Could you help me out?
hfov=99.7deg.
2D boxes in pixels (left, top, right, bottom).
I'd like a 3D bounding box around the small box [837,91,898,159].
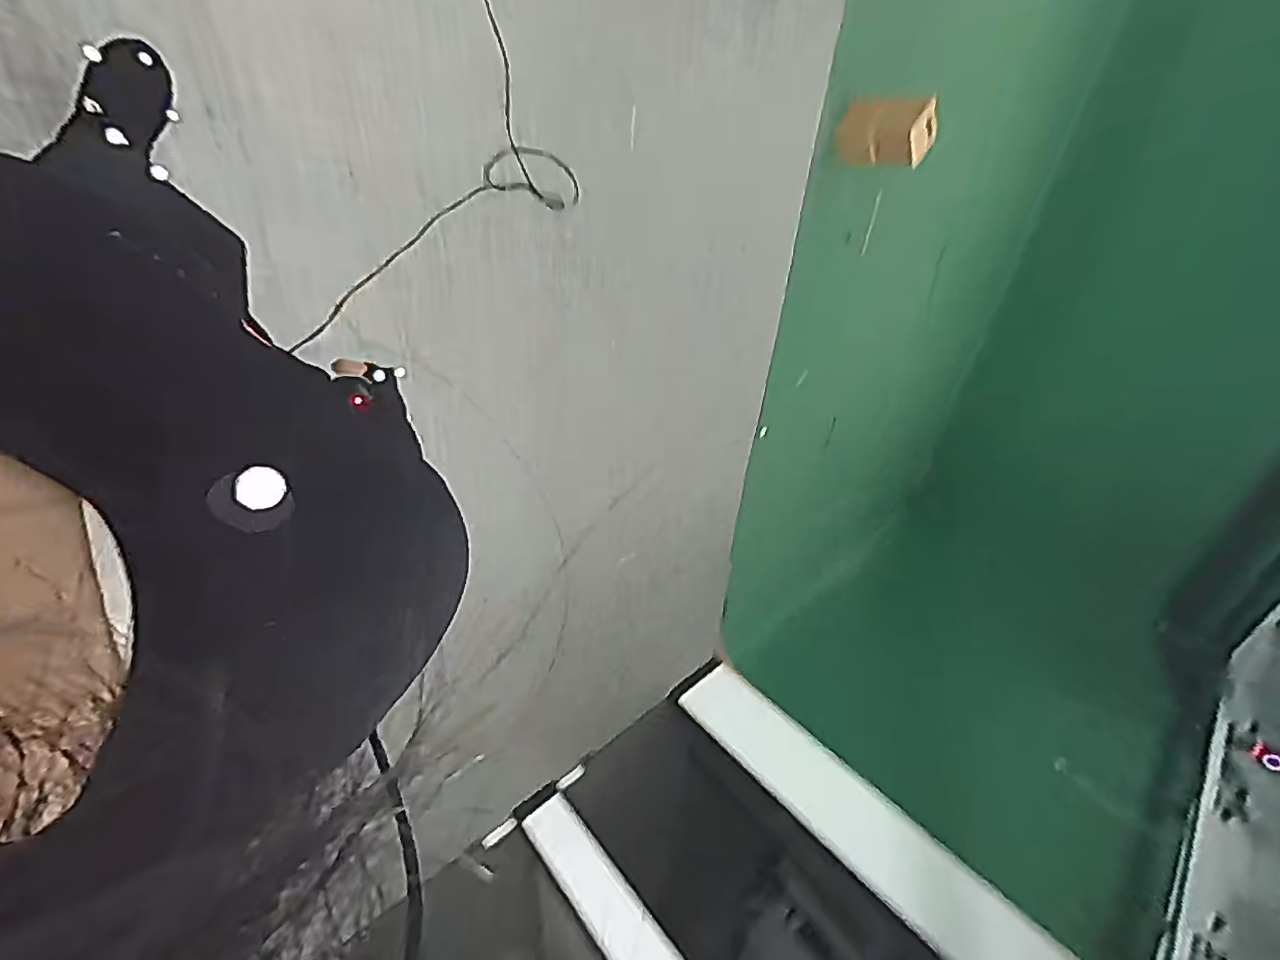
[{"bbox_3d":[0.941,-1.478,2.254,0.179,0.176,0.168,-54,142,-3],"label":"small box"}]
